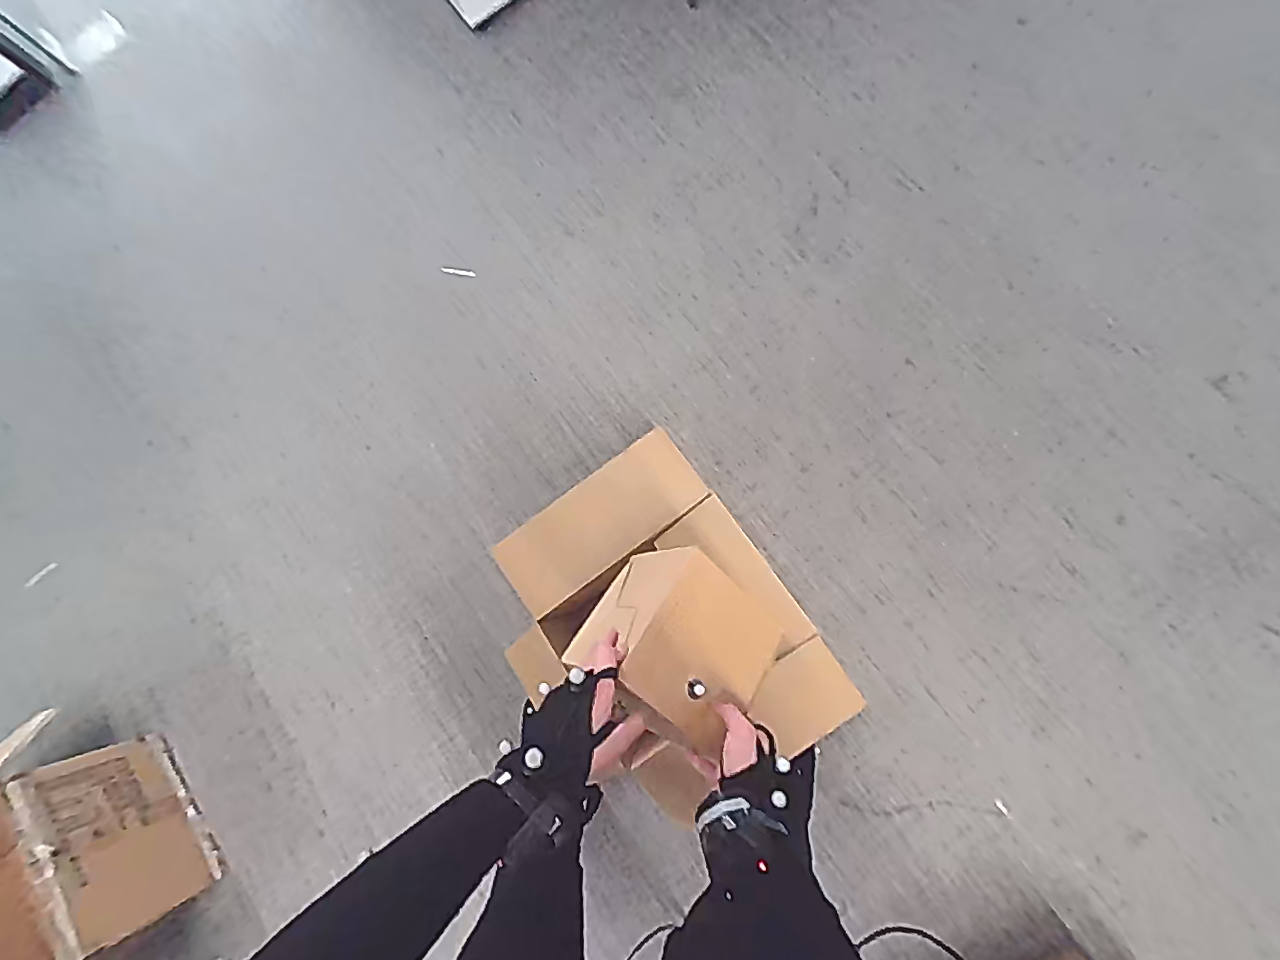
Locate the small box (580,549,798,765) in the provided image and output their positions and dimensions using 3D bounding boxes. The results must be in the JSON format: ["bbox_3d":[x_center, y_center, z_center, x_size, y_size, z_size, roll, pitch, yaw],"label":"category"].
[{"bbox_3d":[0.053,0.208,0.670,0.176,0.168,0.179,41,65,-16],"label":"small box"}]
